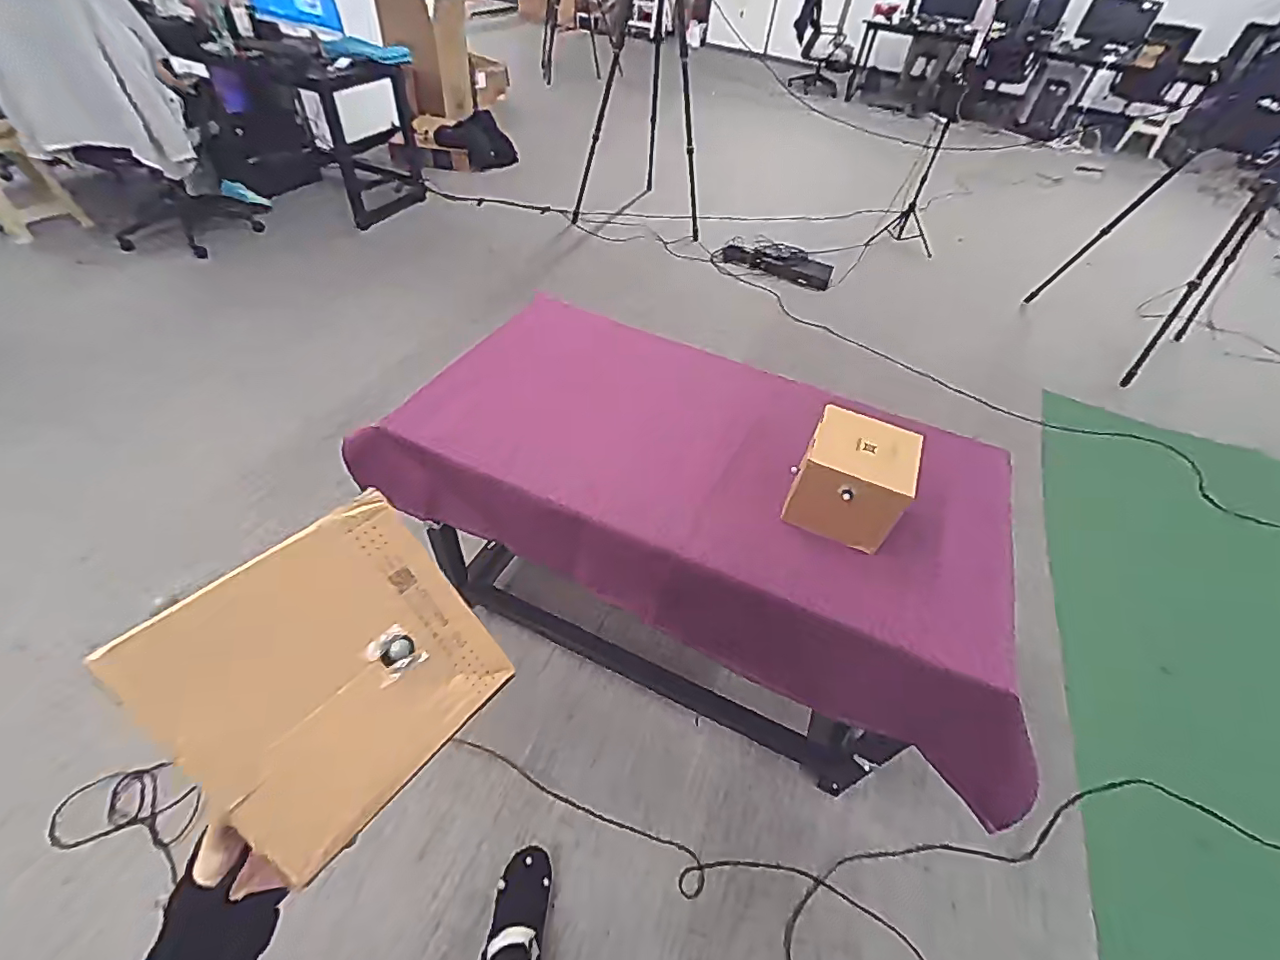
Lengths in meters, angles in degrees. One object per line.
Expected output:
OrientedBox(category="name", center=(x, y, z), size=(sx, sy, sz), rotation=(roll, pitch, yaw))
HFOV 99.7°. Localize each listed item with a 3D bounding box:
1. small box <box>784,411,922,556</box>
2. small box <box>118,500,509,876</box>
OrientedBox(category="small box", center=(0.378, 0.009, 0.978), size=(0.179, 0.176, 0.168), rotation=(22, 49, 13))
OrientedBox(category="small box", center=(-0.231, 0.138, 0.406), size=(0.176, 0.179, 0.168), rotation=(-42, 102, -42))
